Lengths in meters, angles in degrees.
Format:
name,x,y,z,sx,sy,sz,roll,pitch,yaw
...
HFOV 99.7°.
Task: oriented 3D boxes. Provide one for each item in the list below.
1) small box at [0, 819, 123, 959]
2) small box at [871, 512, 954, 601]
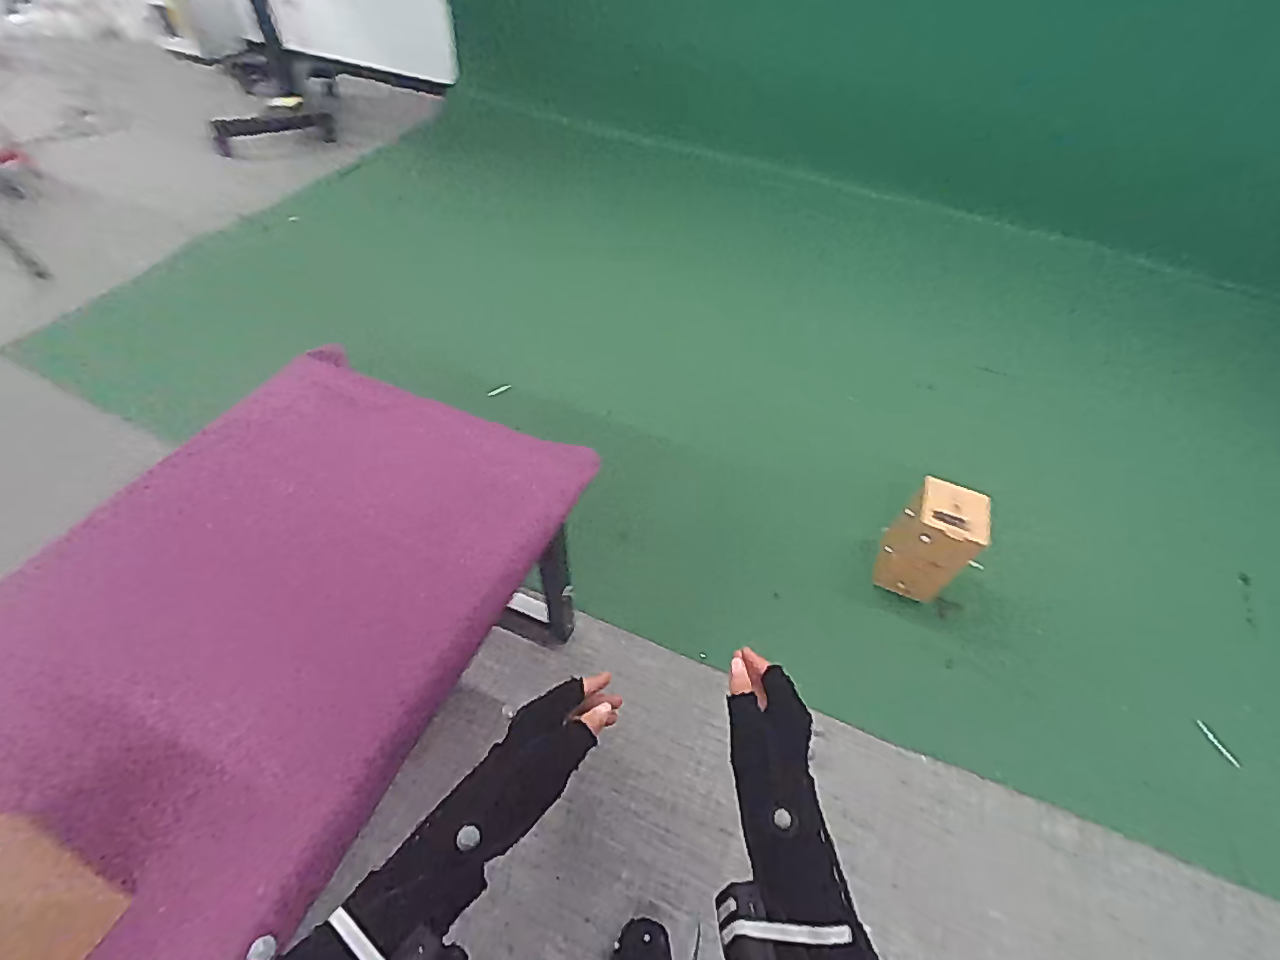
name,x,y,z,sx,sy,sz,roll,pitch,yaw
small box,-0.624,0.408,0.464,0.179,0.176,0.168,21,53,13
small box,0.818,0.232,1.632,0.168,0.176,0.179,20,54,11
